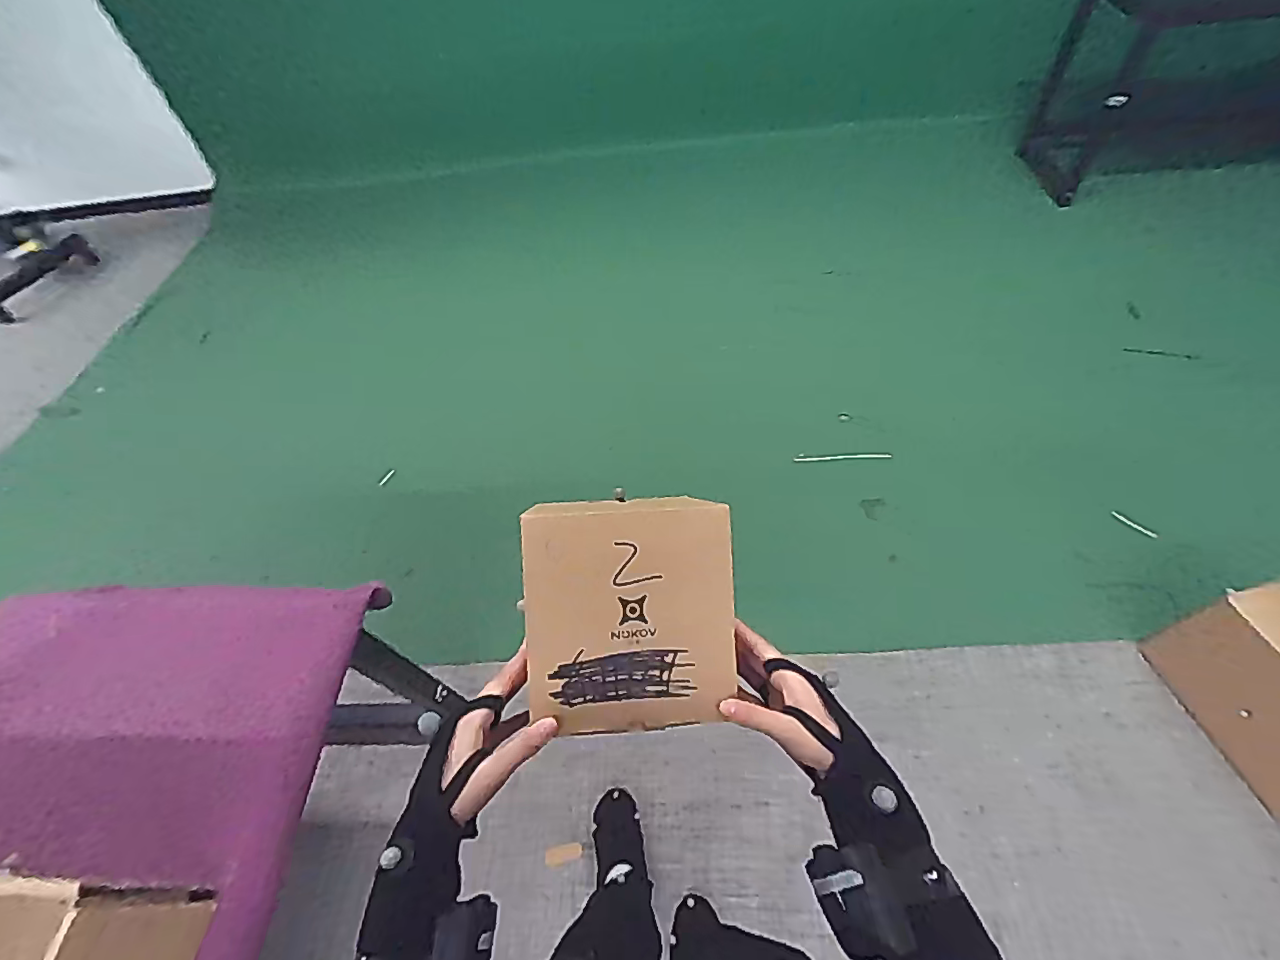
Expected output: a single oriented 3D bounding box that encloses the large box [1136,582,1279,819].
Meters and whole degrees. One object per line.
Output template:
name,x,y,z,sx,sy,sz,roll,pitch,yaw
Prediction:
large box,1.430,0.457,1.145,0.320,0.320,0.408,-14,51,-4
